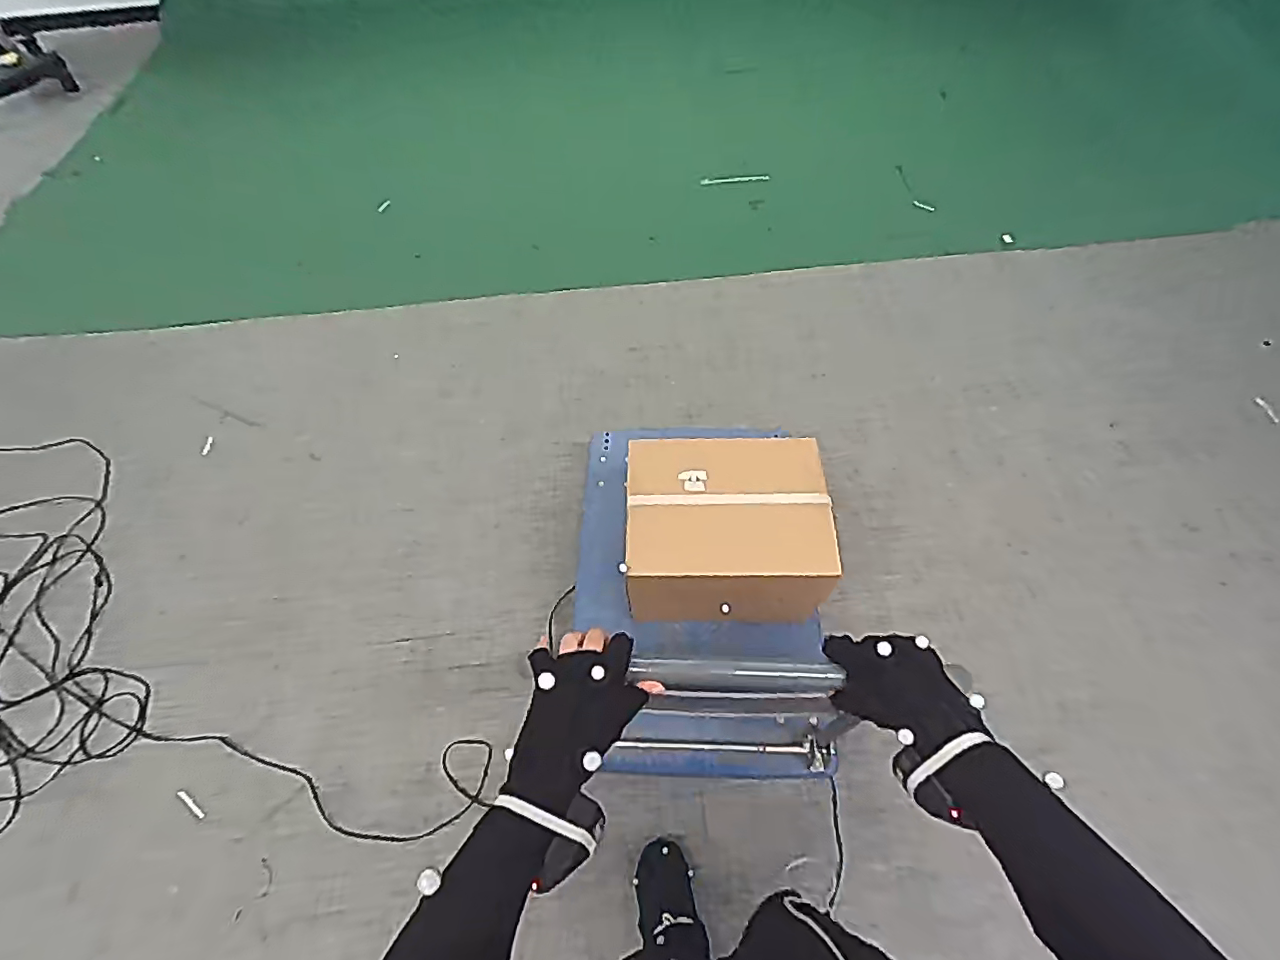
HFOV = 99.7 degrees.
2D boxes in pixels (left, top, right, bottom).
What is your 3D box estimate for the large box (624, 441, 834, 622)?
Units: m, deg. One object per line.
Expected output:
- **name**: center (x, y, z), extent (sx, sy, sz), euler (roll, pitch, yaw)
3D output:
- **large box**: center (0.178, 0.129, 1.226), extent (0.408, 0.320, 0.320), euler (-1, 58, 3)
